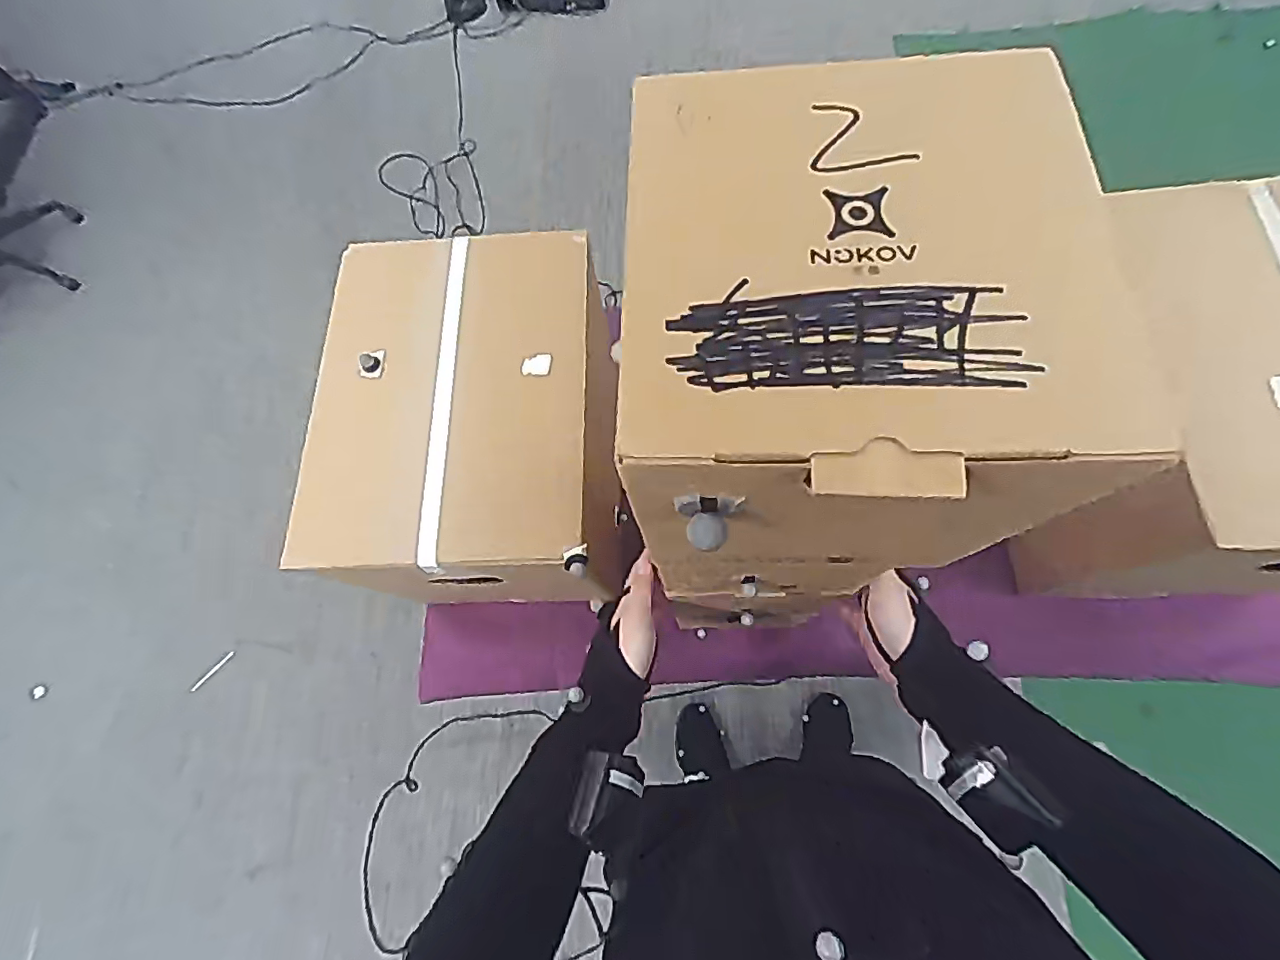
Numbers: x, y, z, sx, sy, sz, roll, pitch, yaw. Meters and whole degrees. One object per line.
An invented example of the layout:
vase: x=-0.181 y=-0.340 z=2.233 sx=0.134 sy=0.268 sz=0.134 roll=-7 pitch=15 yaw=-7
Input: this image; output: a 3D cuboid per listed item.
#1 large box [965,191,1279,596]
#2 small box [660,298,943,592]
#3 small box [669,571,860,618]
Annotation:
large box: x=0.666 y=-0.079 z=0.666 sx=0.320 sy=0.320 sz=0.408 roll=-2 pitch=71 yaw=6
small box: x=0.099 y=-0.014 z=0.420 sx=0.168 sy=0.176 sz=0.179 roll=-2 pitch=70 yaw=4
small box: x=0.113 y=0.045 z=0.569 sx=0.168 sy=0.176 sz=0.179 roll=-2 pitch=69 yaw=5
